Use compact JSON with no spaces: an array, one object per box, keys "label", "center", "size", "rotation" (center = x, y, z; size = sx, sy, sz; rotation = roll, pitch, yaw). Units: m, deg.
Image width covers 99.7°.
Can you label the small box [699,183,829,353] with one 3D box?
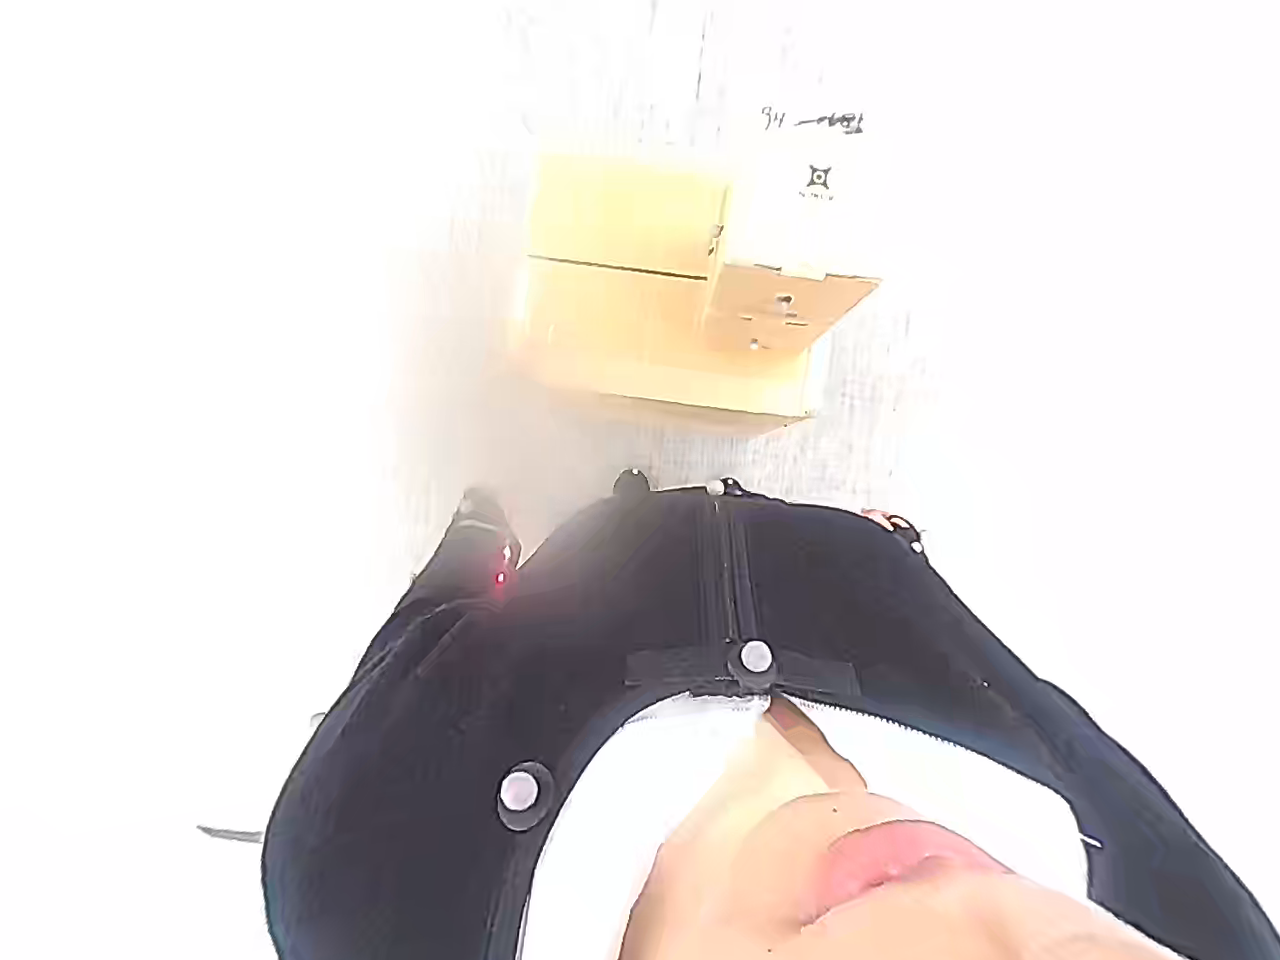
[{"label":"small box","center":[0.180,-0.298,0.791],"size":[0.168,0.176,0.179],"rotation":[7,92,3]}]

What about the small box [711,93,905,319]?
[{"label":"small box","center":[0.177,-0.299,0.626],"size":[0.168,0.176,0.179],"rotation":[8,92,3]}]
